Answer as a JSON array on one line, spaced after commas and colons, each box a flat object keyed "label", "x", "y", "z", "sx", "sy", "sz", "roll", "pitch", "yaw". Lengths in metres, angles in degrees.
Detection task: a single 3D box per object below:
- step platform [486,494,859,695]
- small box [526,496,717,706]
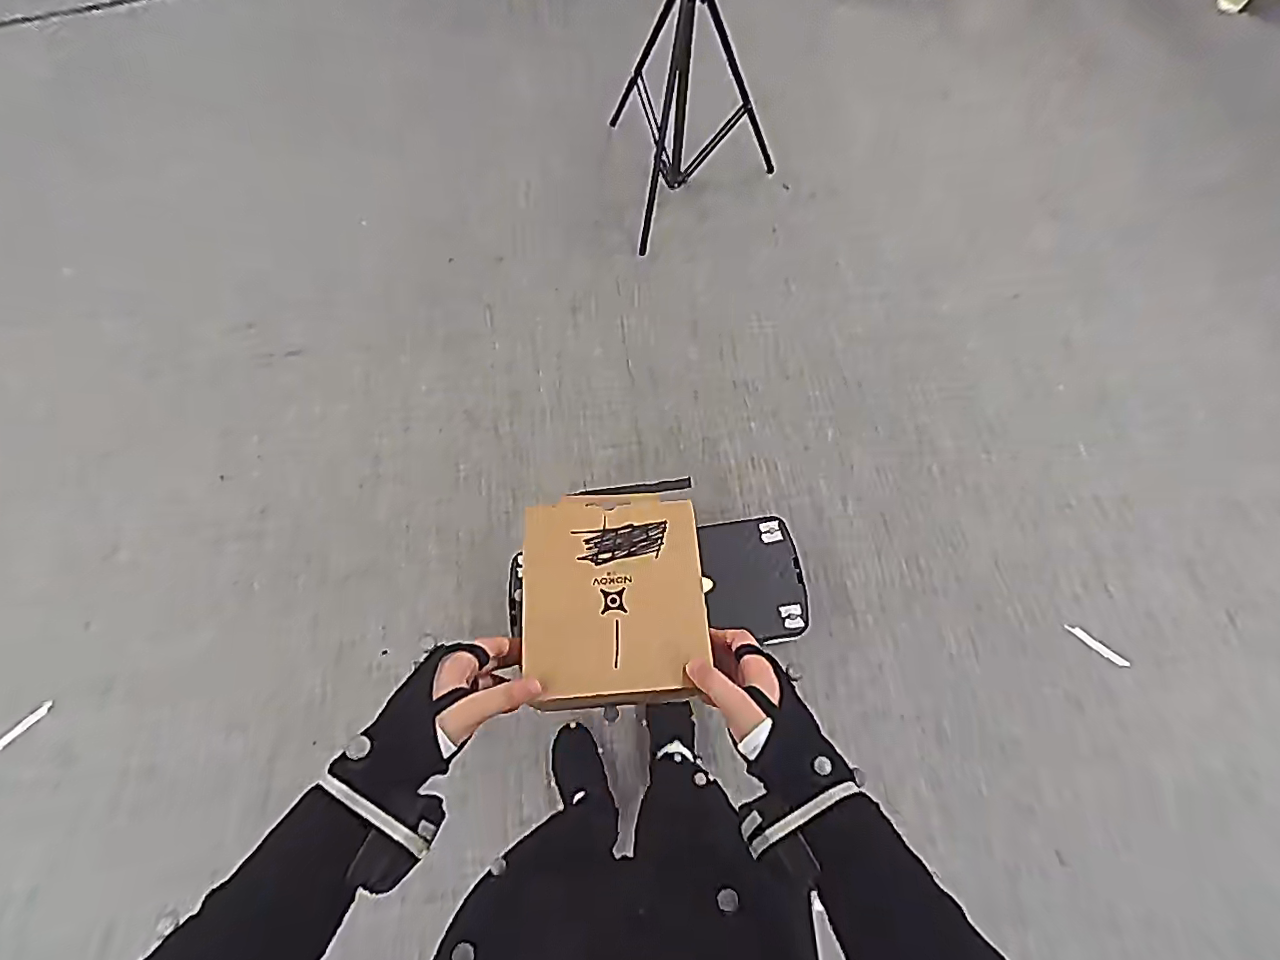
[{"label": "step platform", "x": 0.056, "y": 0.230, "z": 1.085, "sx": 0.684, "sy": 0.204, "sz": 0.286, "roll": -8, "pitch": 70, "yaw": -4}, {"label": "small box", "x": -0.027, "y": 0.131, "z": 0.563, "sx": 0.168, "sy": 0.176, "sz": 0.179, "roll": -3, "pitch": 65, "yaw": -6}]
